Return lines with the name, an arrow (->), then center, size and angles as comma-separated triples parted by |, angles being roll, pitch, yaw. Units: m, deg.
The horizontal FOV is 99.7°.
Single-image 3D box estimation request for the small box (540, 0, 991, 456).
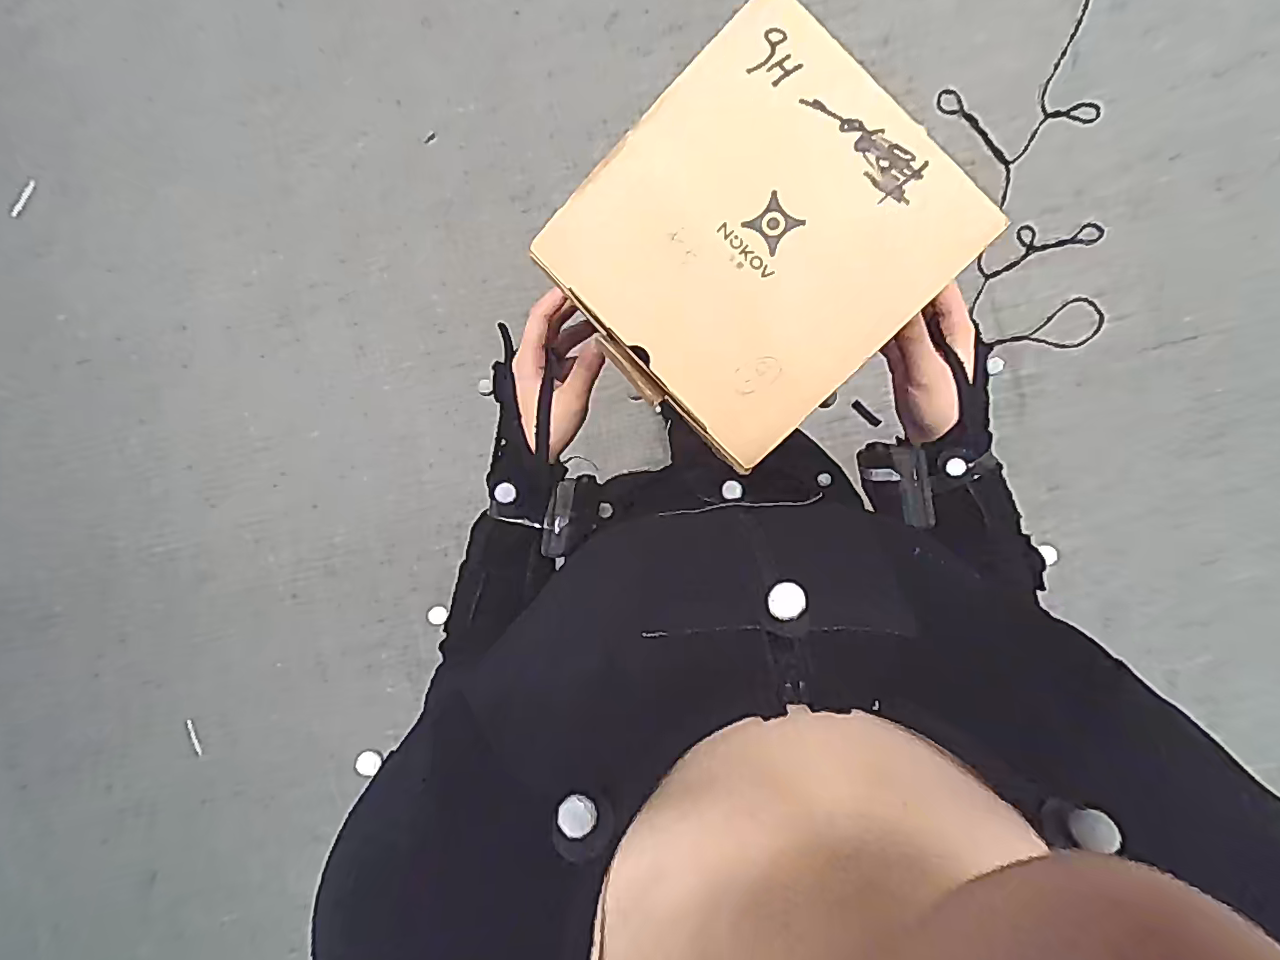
small box -> 0.069, -0.134, 0.360 | 0.179, 0.176, 0.168 | -45, 90, 8
